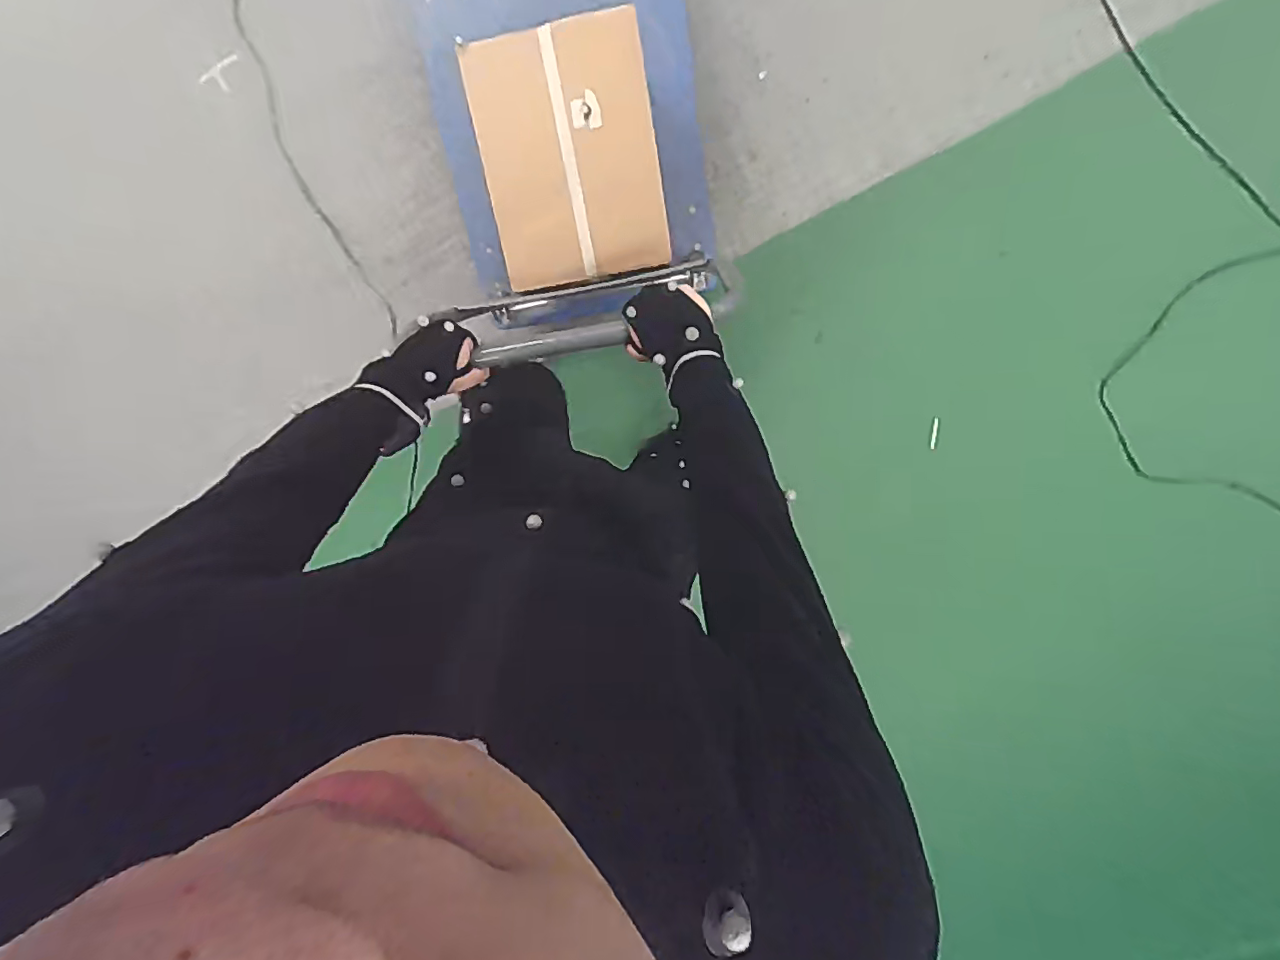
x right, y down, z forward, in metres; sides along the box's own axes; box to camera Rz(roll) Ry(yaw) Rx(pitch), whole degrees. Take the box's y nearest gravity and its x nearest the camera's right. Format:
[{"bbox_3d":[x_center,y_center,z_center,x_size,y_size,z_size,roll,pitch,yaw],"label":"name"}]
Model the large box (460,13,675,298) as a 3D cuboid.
[{"bbox_3d":[-0.115,-0.611,1.110,0.320,0.320,0.408,-10,107,5],"label":"large box"}]
